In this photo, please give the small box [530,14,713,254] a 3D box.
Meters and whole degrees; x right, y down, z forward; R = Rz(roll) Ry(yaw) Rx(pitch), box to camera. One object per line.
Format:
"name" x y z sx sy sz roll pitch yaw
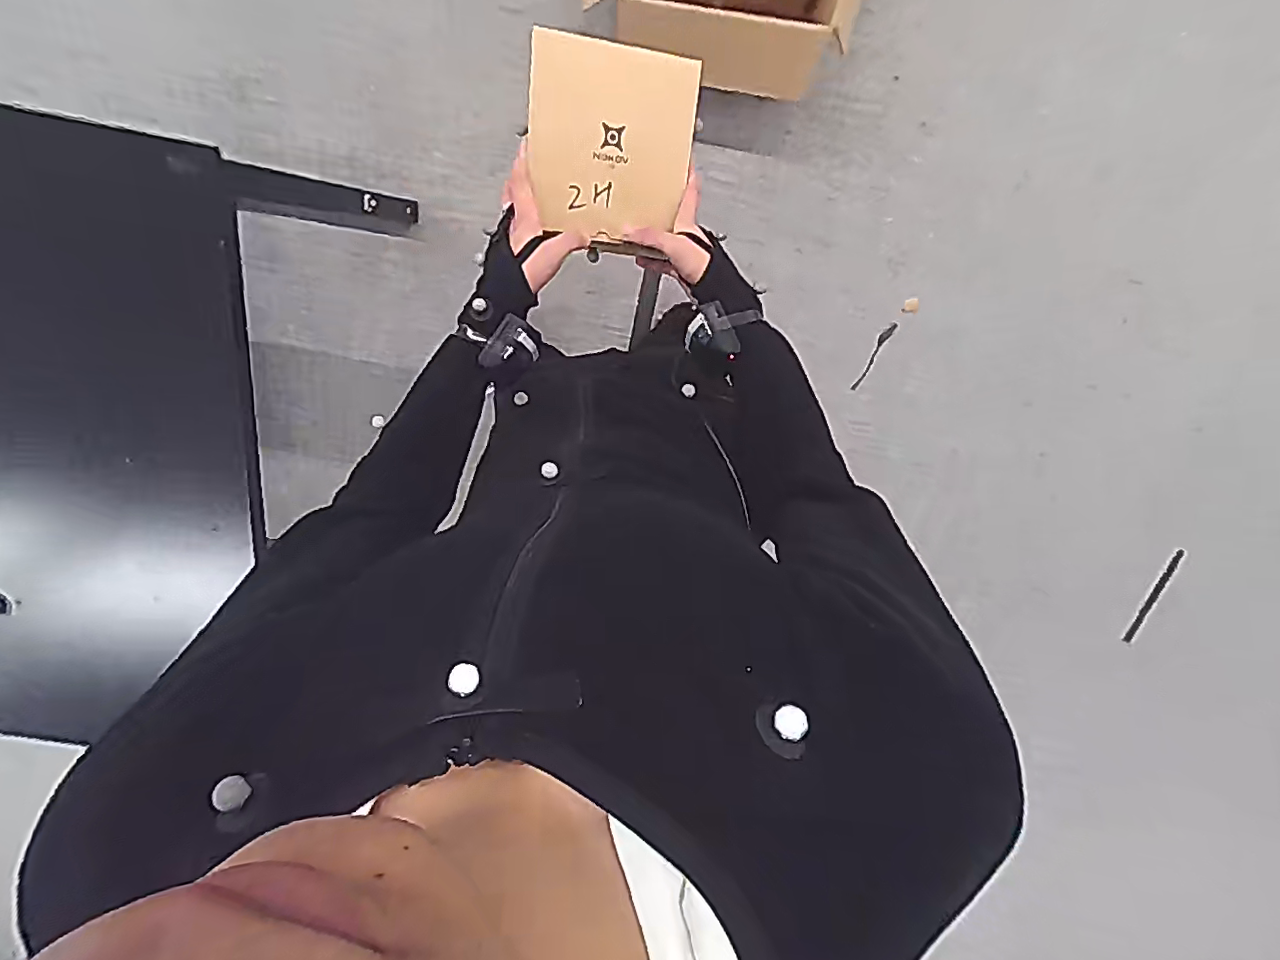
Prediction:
"small box" -0.032 -0.361 0.604 0.168 0.176 0.179 4 110 -10
